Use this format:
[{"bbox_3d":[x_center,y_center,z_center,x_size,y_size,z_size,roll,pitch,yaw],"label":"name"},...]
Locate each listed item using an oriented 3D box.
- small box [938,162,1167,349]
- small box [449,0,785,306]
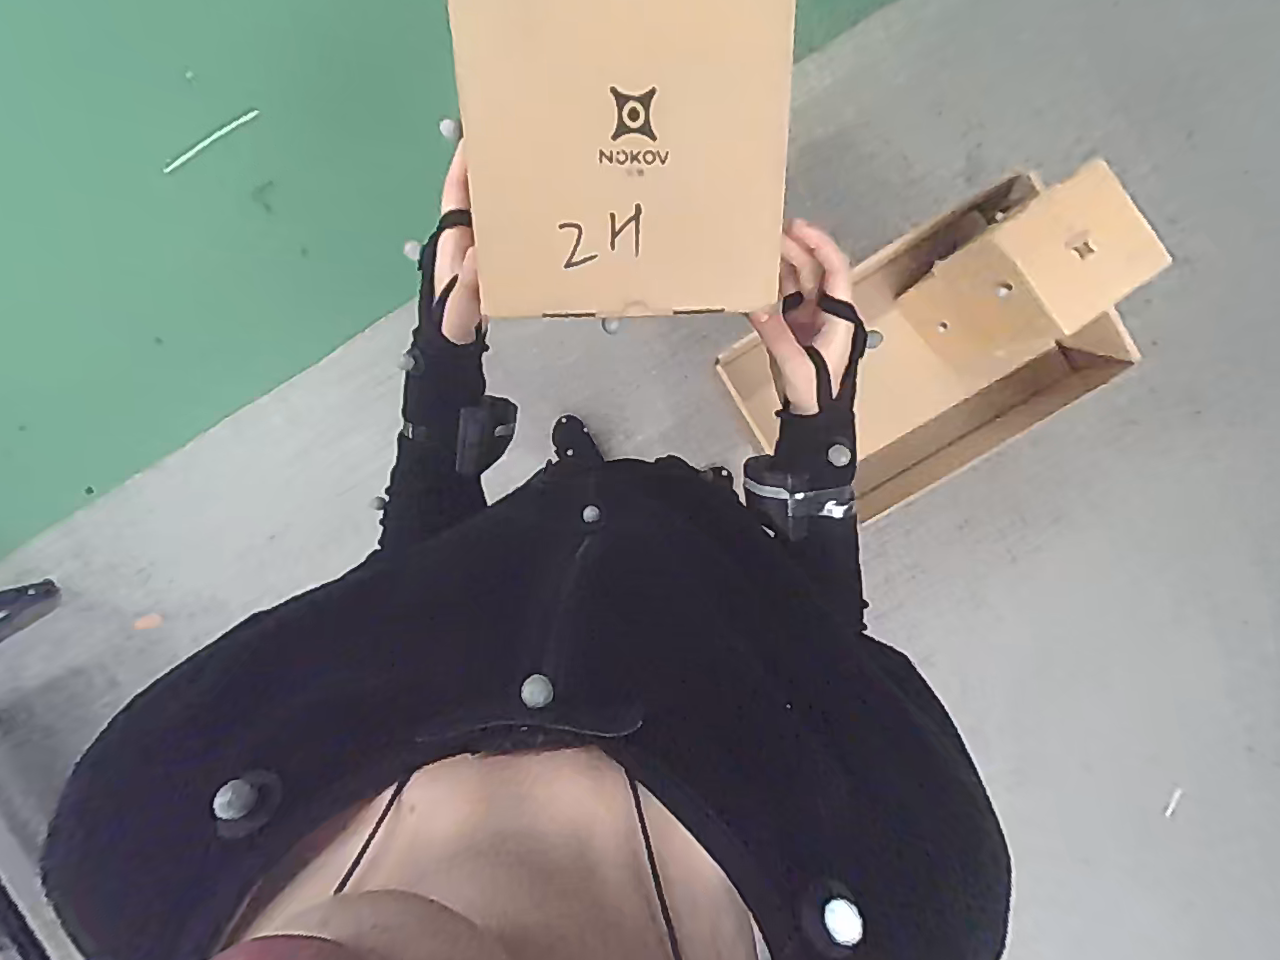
[{"bbox_3d":[0.593,-0.313,0.804,0.168,0.176,0.179,-36,91,5],"label":"small box"},{"bbox_3d":[-0.022,-0.206,0.349,0.168,0.176,0.179,-3,110,-8],"label":"small box"}]
